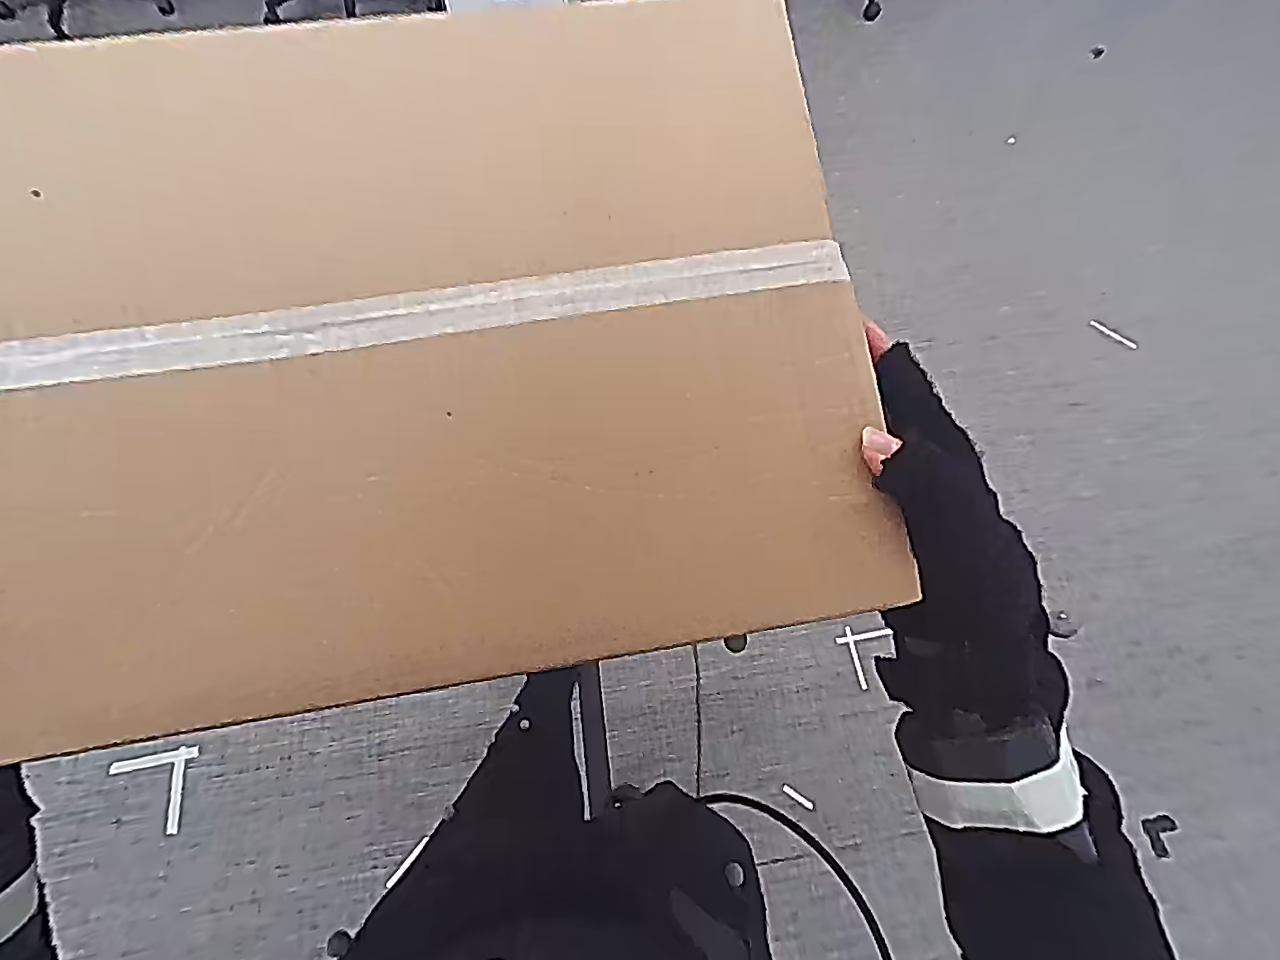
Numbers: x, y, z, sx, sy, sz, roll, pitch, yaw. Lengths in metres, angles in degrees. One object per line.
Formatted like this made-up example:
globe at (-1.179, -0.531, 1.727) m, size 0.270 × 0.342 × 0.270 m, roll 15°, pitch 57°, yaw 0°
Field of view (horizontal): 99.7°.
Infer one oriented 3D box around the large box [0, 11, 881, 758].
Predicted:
large box at (-0.115, -0.046, 0.397) m, size 0.408 × 0.320 × 0.320 m, roll -9°, pitch 81°, yaw -4°
